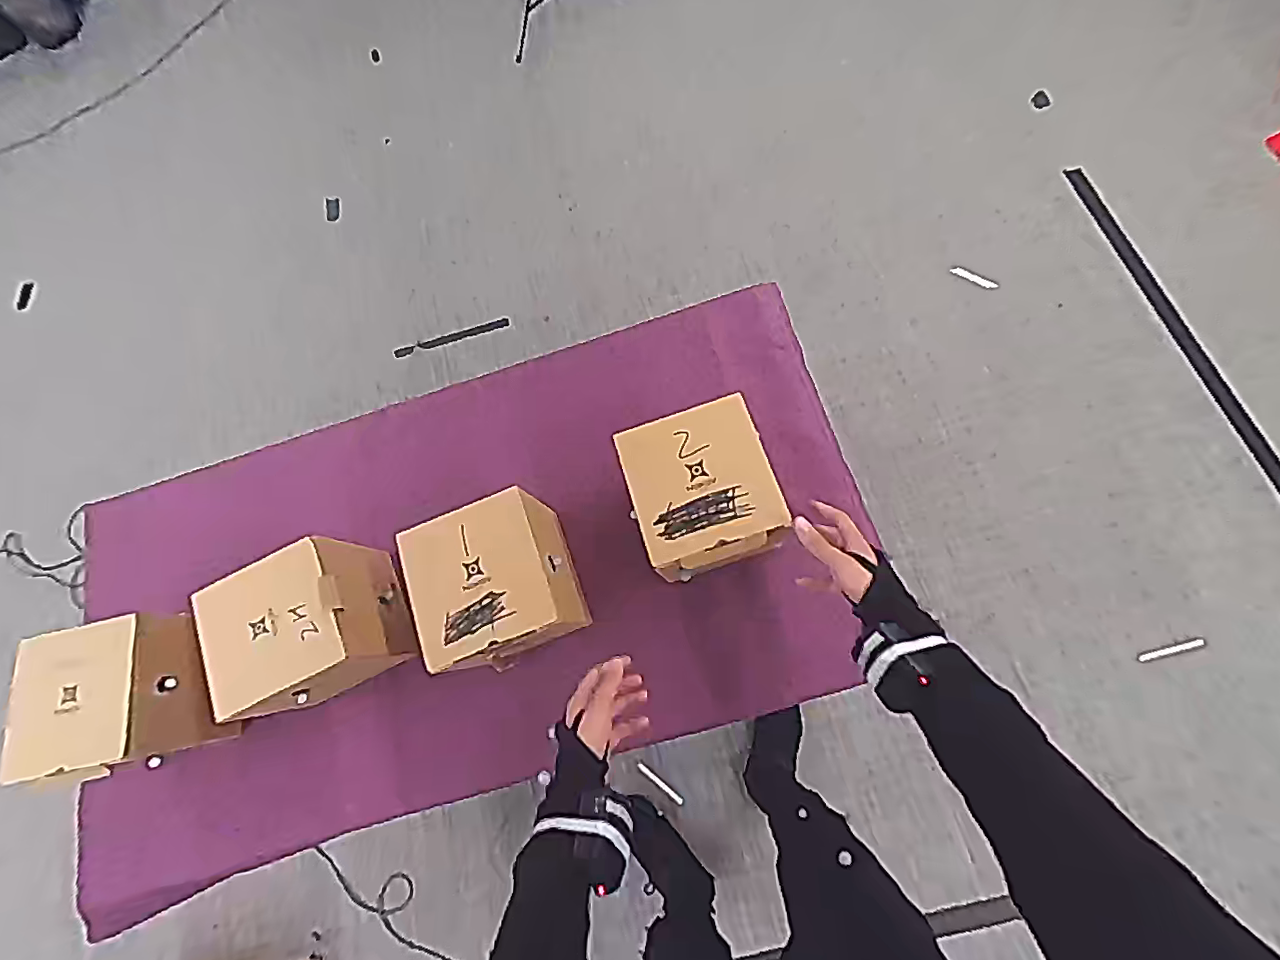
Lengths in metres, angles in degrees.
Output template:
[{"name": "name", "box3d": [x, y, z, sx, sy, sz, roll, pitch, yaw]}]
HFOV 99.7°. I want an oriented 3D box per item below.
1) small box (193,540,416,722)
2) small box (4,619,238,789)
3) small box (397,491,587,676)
[{"name": "small box", "box3d": [-0.441, 0.202, 0.731, 0.179, 0.176, 0.168, -26, 73, 0]}, {"name": "small box", "box3d": [-0.685, 0.293, 0.740, 0.168, 0.176, 0.179, -13, 73, 3]}, {"name": "small box", "box3d": [-0.184, 0.139, 0.714, 0.168, 0.176, 0.179, -22, 72, 1]}]
